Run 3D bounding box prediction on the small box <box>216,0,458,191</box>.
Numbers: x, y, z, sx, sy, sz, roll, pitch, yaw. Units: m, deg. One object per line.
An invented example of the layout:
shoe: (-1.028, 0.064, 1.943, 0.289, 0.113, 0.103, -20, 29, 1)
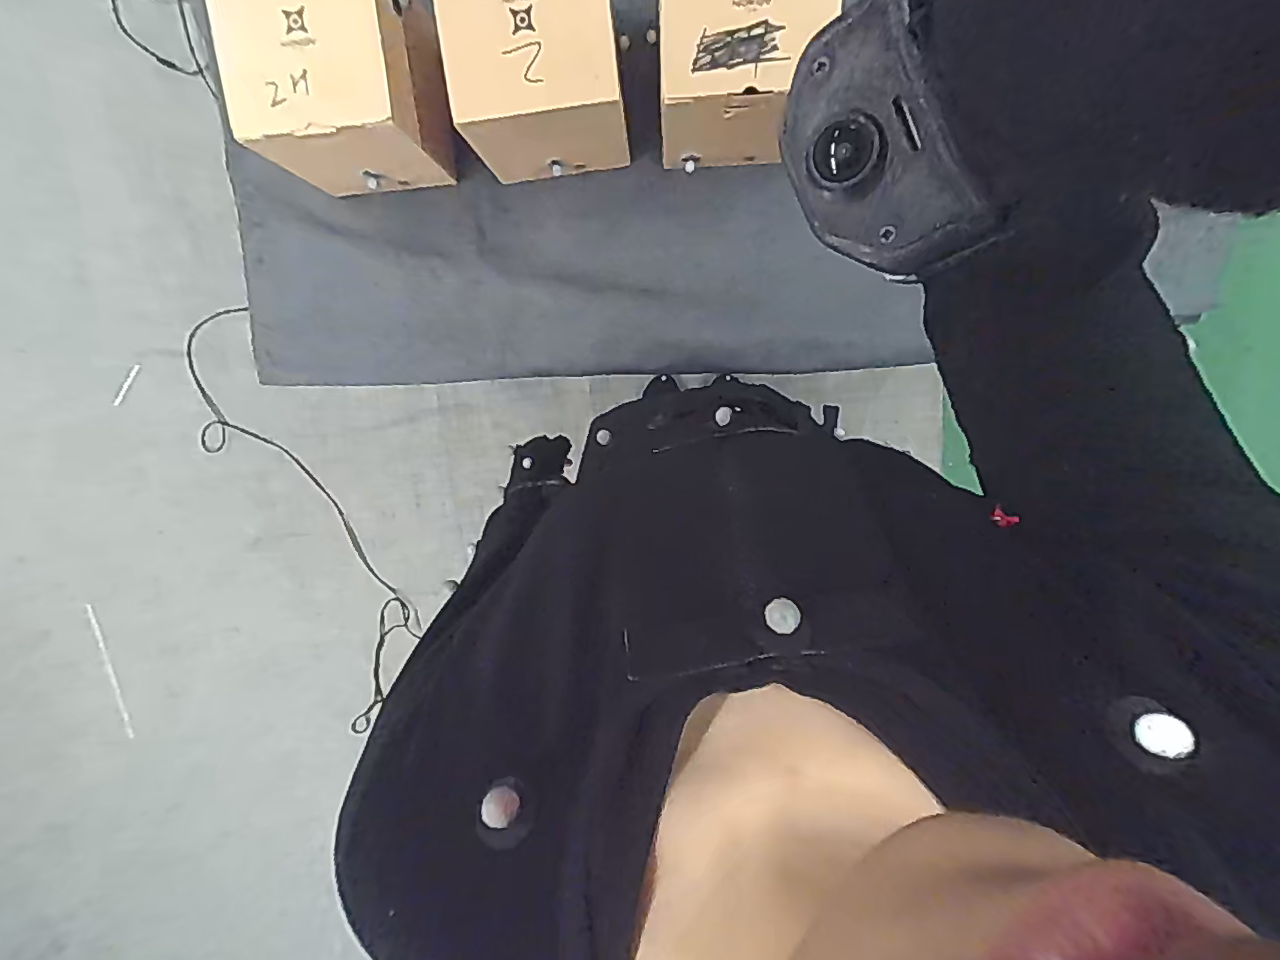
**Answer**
small box: (-0.317, -0.445, 0.593, 0.168, 0.176, 0.179, -3, 100, 4)
